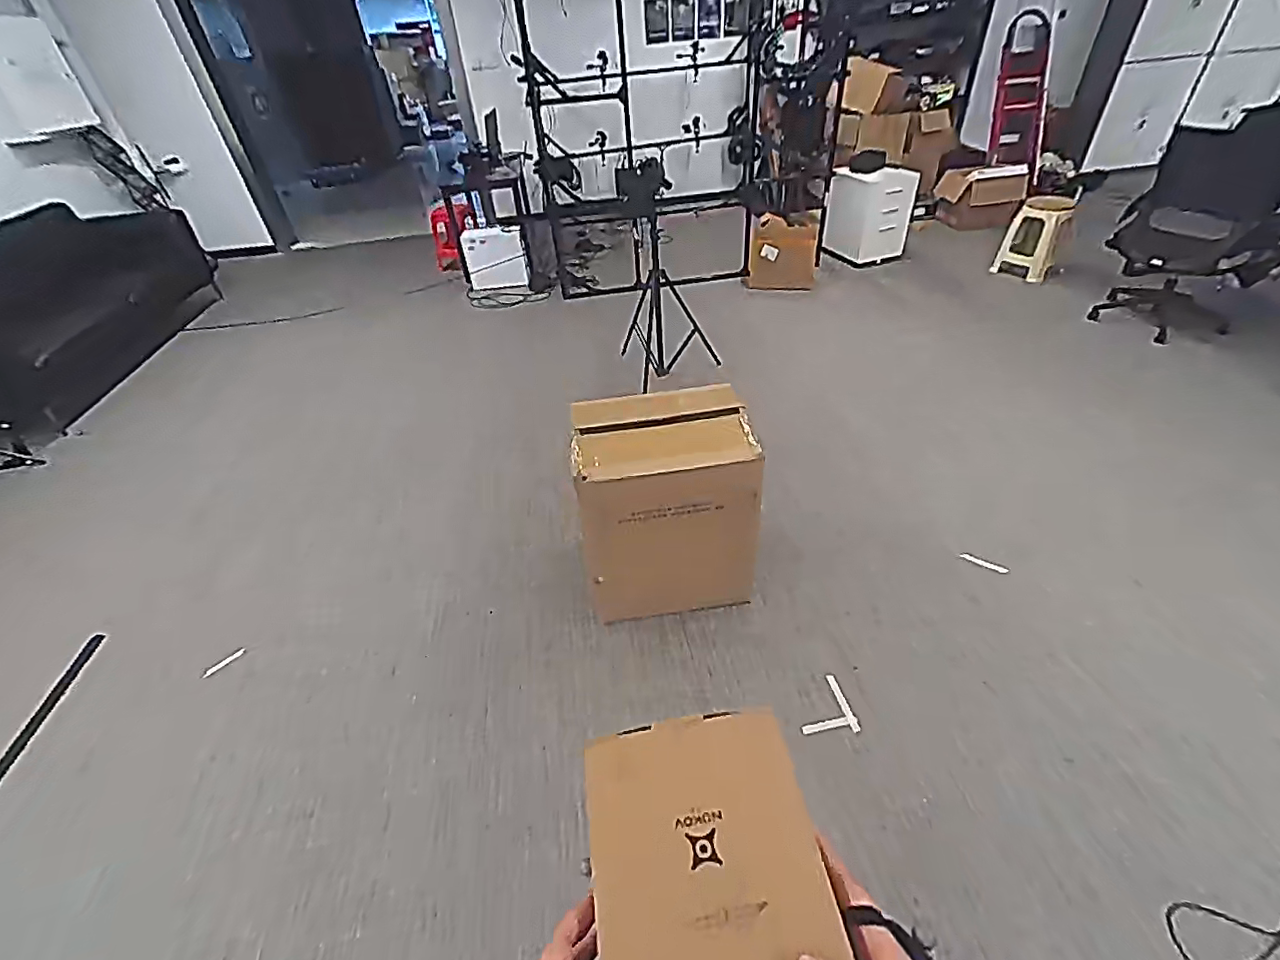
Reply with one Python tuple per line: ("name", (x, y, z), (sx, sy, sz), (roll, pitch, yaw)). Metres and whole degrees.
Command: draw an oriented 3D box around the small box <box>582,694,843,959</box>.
("small box", (0.046, 0.312, 0.464), (0.168, 0.176, 0.179), (-9, 48, -3))
